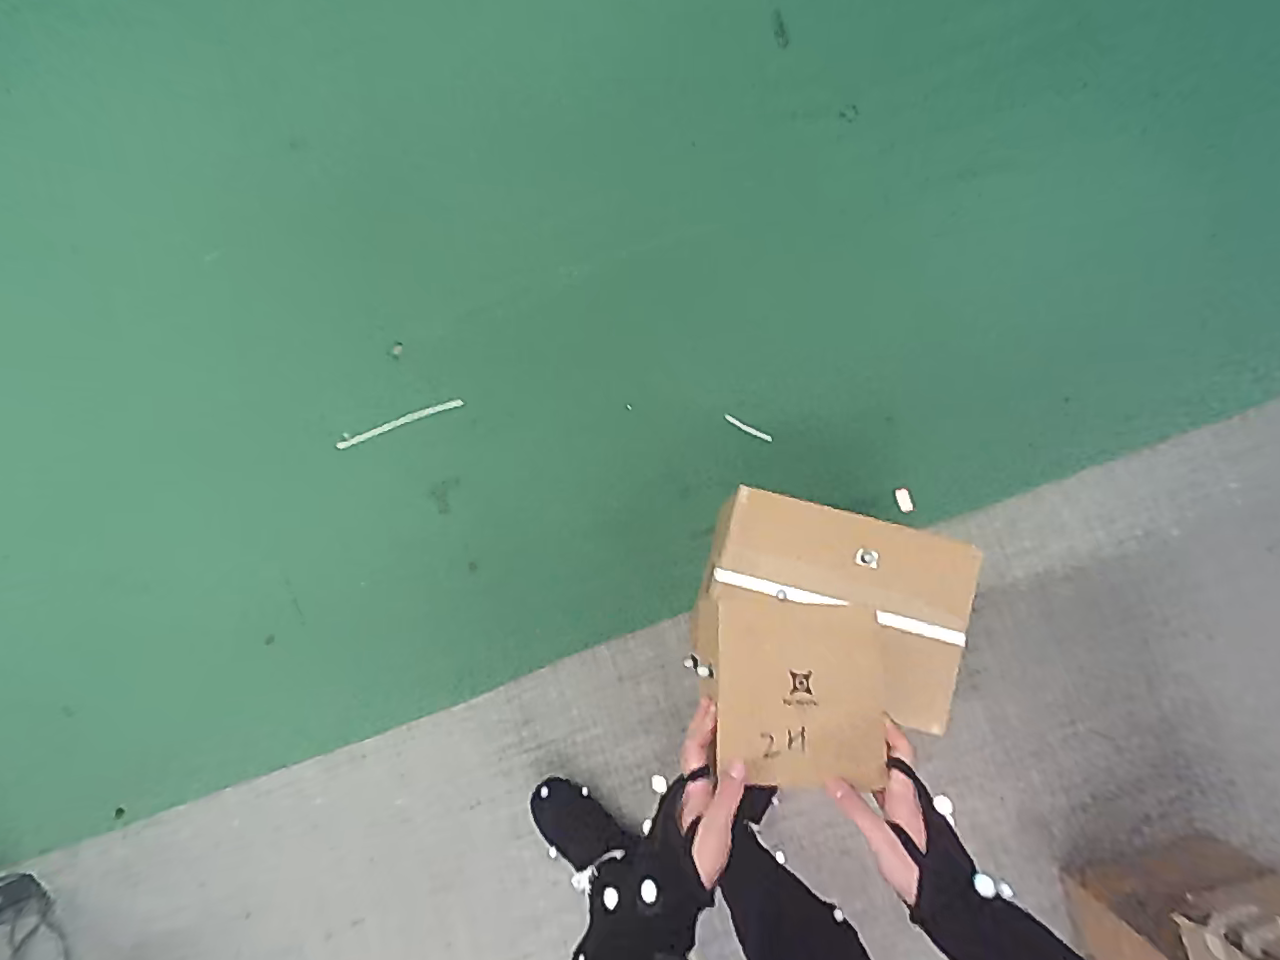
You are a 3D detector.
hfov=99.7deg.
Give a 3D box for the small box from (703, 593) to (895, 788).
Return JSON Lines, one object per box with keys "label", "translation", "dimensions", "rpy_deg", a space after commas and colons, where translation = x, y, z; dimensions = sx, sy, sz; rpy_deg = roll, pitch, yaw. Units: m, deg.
{"label": "small box", "translation": [0.162, 0.220, 0.605], "dimensions": [0.168, 0.176, 0.179], "rpy_deg": [2, 78, 0]}
